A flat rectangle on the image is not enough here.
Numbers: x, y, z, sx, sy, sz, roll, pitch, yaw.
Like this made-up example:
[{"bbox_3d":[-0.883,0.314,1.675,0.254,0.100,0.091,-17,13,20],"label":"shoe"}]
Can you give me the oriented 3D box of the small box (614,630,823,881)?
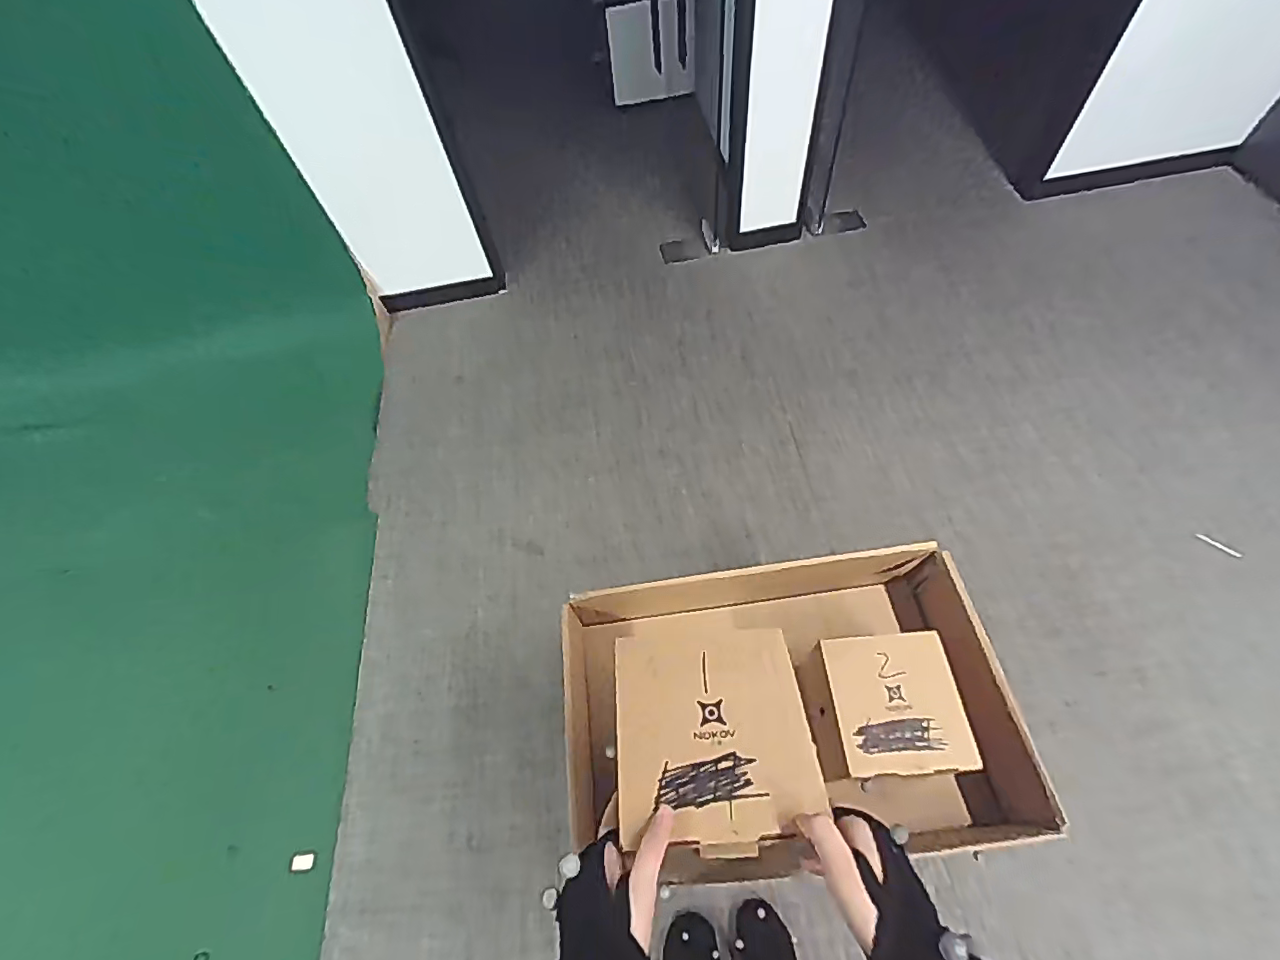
[{"bbox_3d":[0.064,0.272,0.529,0.168,0.176,0.179,-4,43,0],"label":"small box"}]
